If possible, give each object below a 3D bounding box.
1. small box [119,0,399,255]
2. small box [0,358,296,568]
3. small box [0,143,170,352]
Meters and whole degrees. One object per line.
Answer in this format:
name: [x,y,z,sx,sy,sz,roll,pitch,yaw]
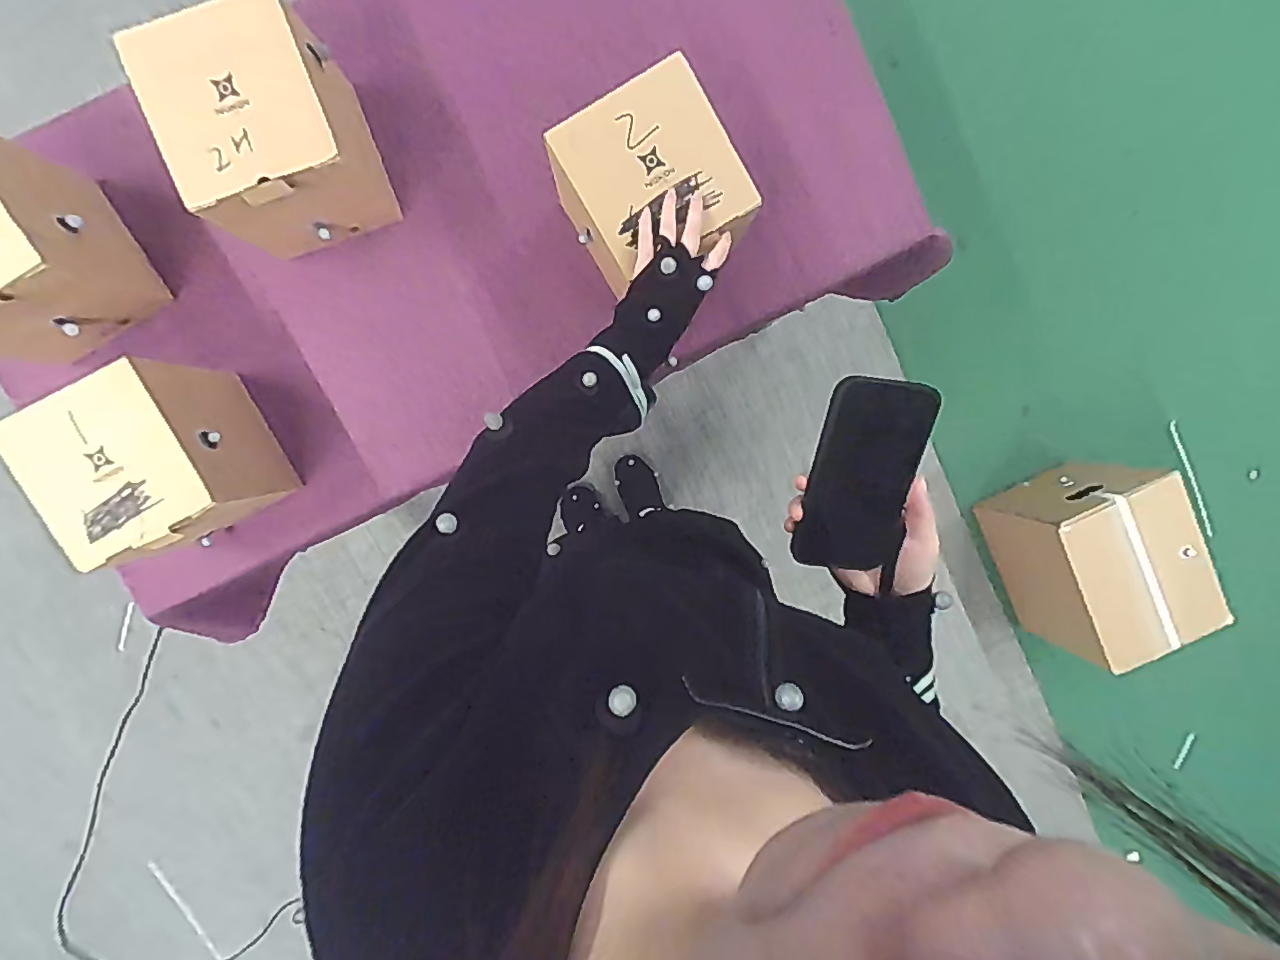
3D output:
small box: [-0.409,-0.388,0.616,0.168,0.176,0.179,-19,97,0]
small box: [-0.564,-0.024,0.647,0.168,0.176,0.179,-27,95,0]
small box: [-0.710,-0.260,0.617,0.168,0.176,0.179,-30,97,0]
